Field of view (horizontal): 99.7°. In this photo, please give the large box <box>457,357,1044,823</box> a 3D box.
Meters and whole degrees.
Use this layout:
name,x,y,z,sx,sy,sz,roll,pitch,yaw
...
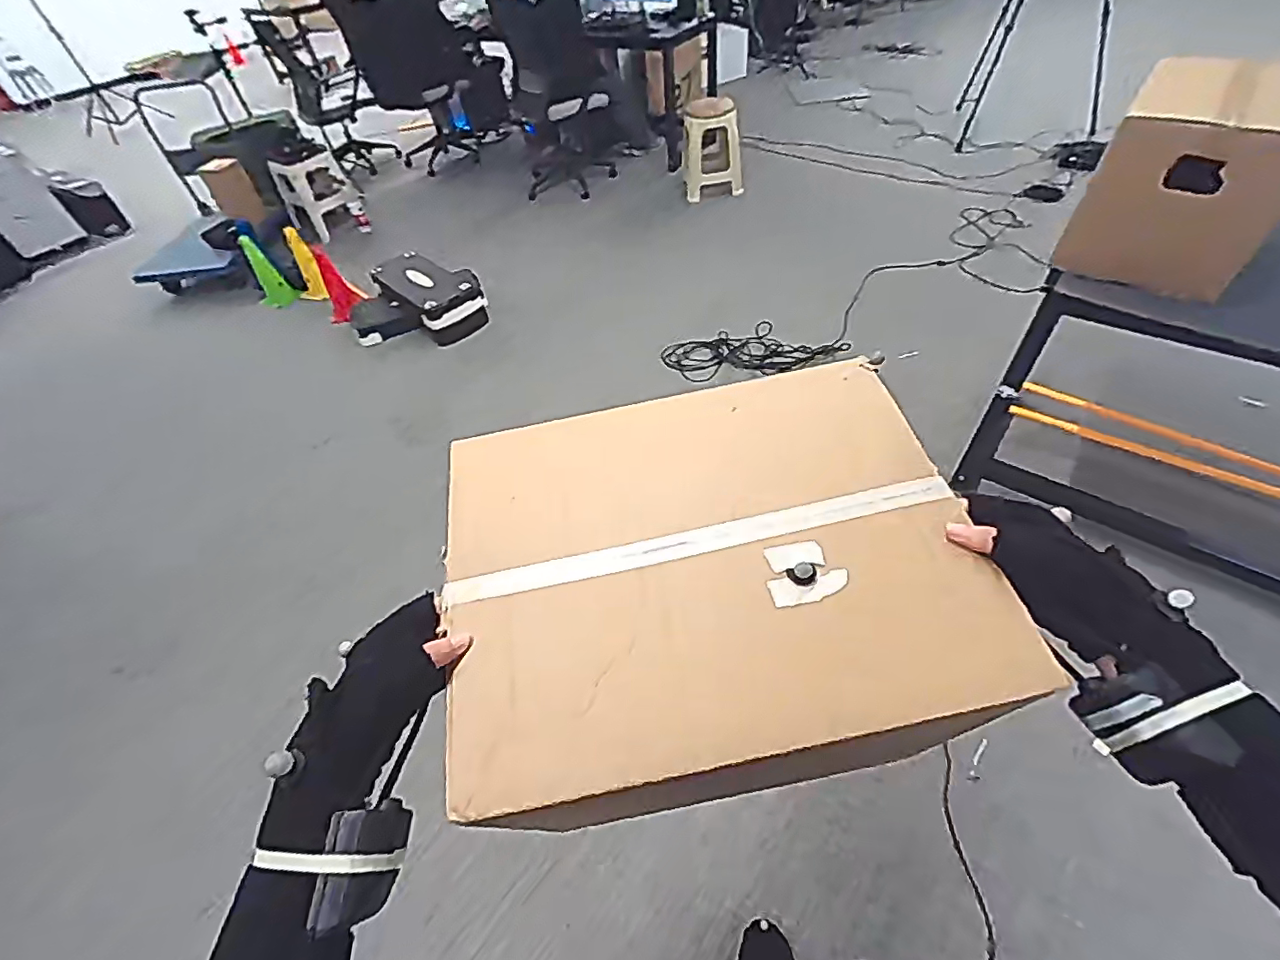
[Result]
name,x,y,z,sx,sy,sz,roll,pitch,yaw
large box,0.061,0.126,0.556,0.408,0.320,0.320,-12,56,-2
